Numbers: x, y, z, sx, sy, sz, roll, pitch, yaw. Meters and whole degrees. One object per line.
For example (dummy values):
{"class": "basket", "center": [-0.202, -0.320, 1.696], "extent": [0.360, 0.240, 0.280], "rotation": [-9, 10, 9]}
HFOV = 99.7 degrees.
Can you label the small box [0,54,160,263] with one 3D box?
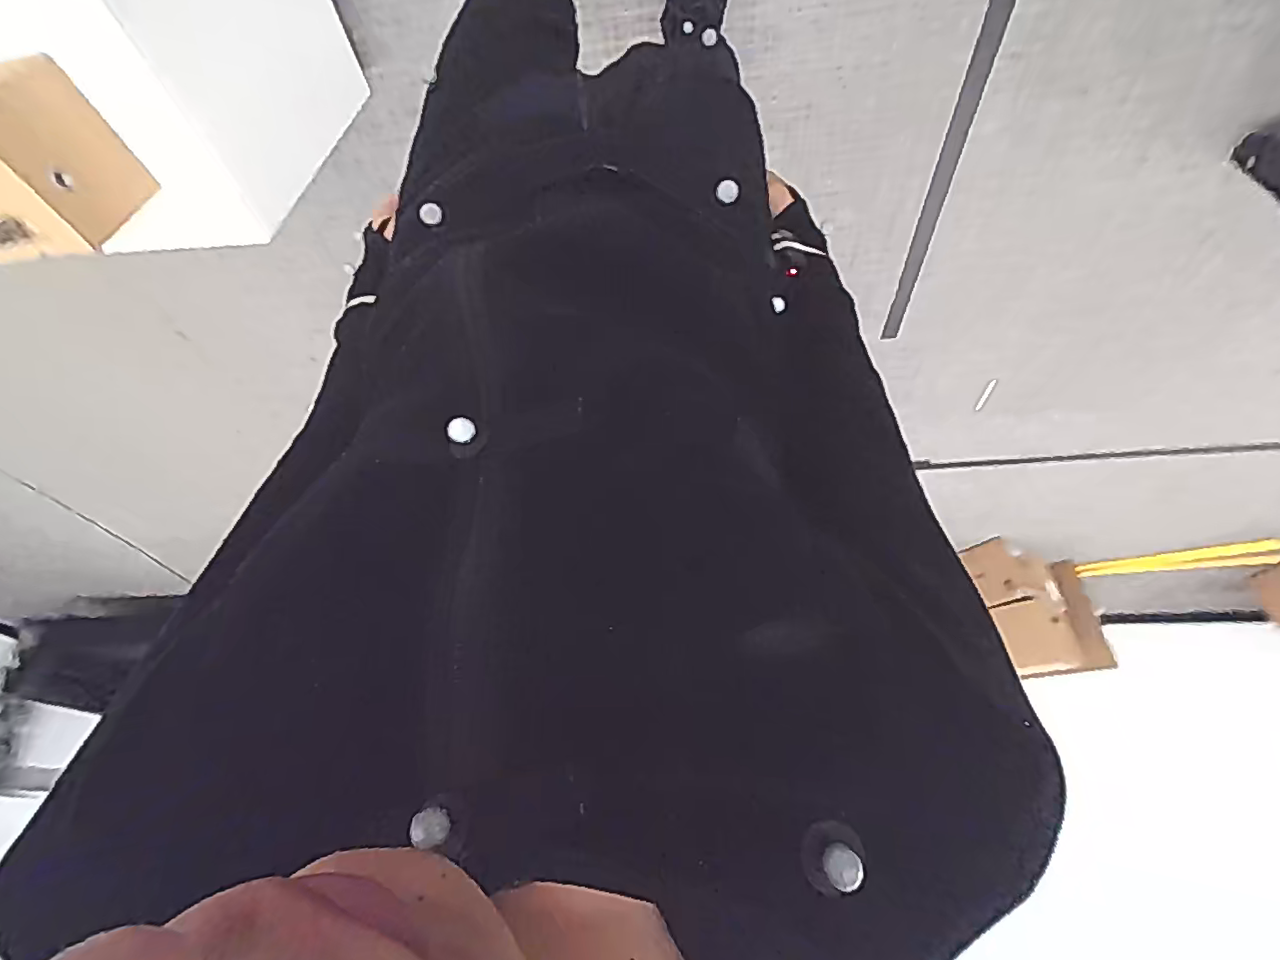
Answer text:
{"class": "small box", "center": [-0.807, -0.418, 0.713], "extent": [0.168, 0.176, 0.179], "rotation": [-3, 145, 7]}
